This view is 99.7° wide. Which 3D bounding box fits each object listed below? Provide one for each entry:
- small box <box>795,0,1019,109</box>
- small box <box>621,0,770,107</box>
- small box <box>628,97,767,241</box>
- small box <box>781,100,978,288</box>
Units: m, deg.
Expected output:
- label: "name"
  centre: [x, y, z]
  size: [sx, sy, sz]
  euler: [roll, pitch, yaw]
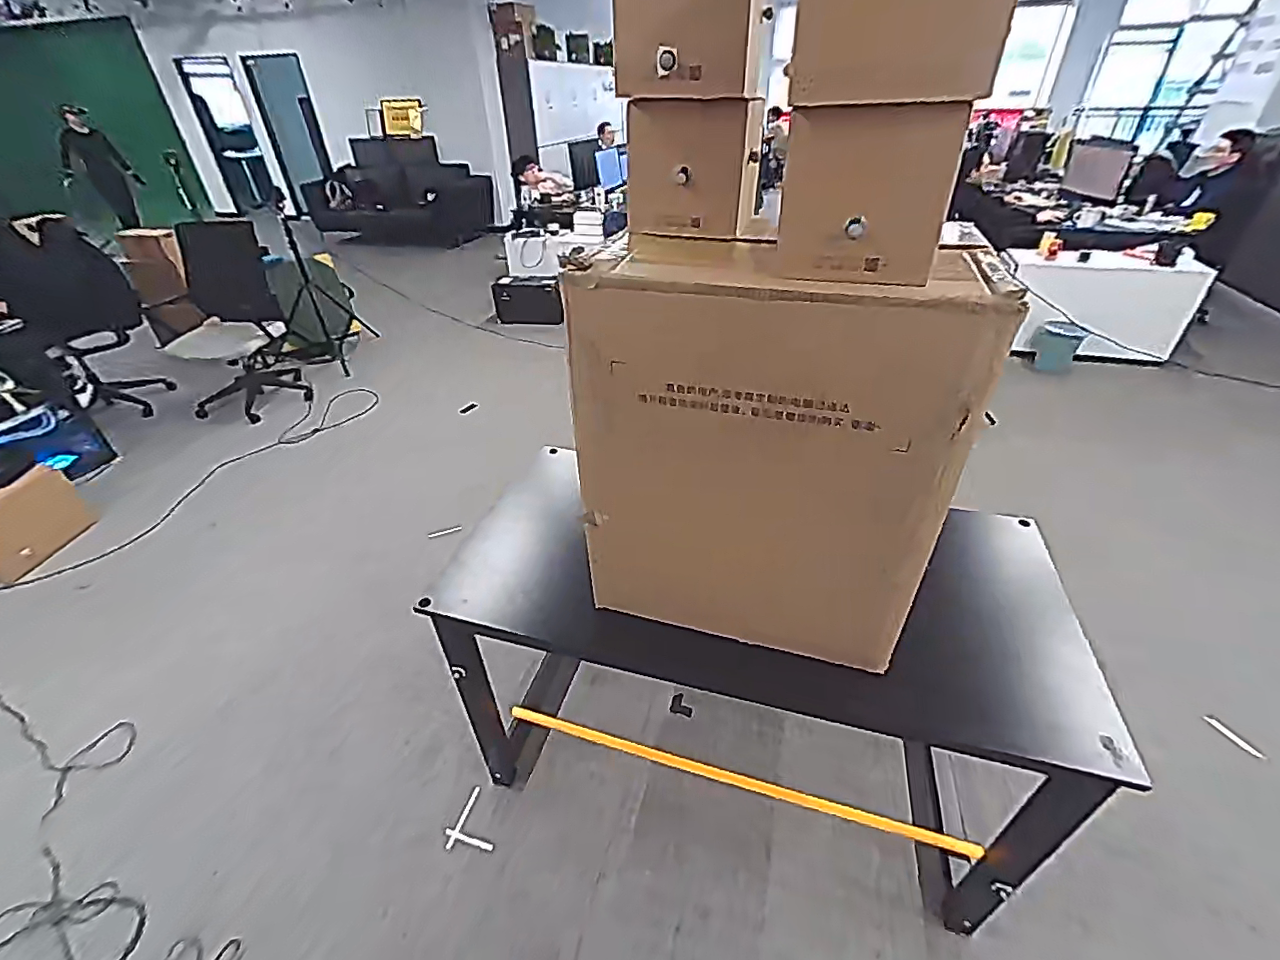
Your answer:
- label: "small box"
  centre: [0.244, -0.450, 0.503]
  size: [0.179, 0.176, 0.168]
  euler: [8, 37, 13]
- label: "small box"
  centre: [0.073, -0.579, 0.686]
  size: [0.168, 0.176, 0.179]
  euler: [7, 37, 13]
- label: "small box"
  centre: [0.088, -0.464, 0.806]
  size: [0.168, 0.176, 0.179]
  euler: [10, 37, 14]
- label: "small box"
  centre: [0.261, -0.333, 0.622]
  size: [0.168, 0.176, 0.179]
  euler: [10, 37, 17]
